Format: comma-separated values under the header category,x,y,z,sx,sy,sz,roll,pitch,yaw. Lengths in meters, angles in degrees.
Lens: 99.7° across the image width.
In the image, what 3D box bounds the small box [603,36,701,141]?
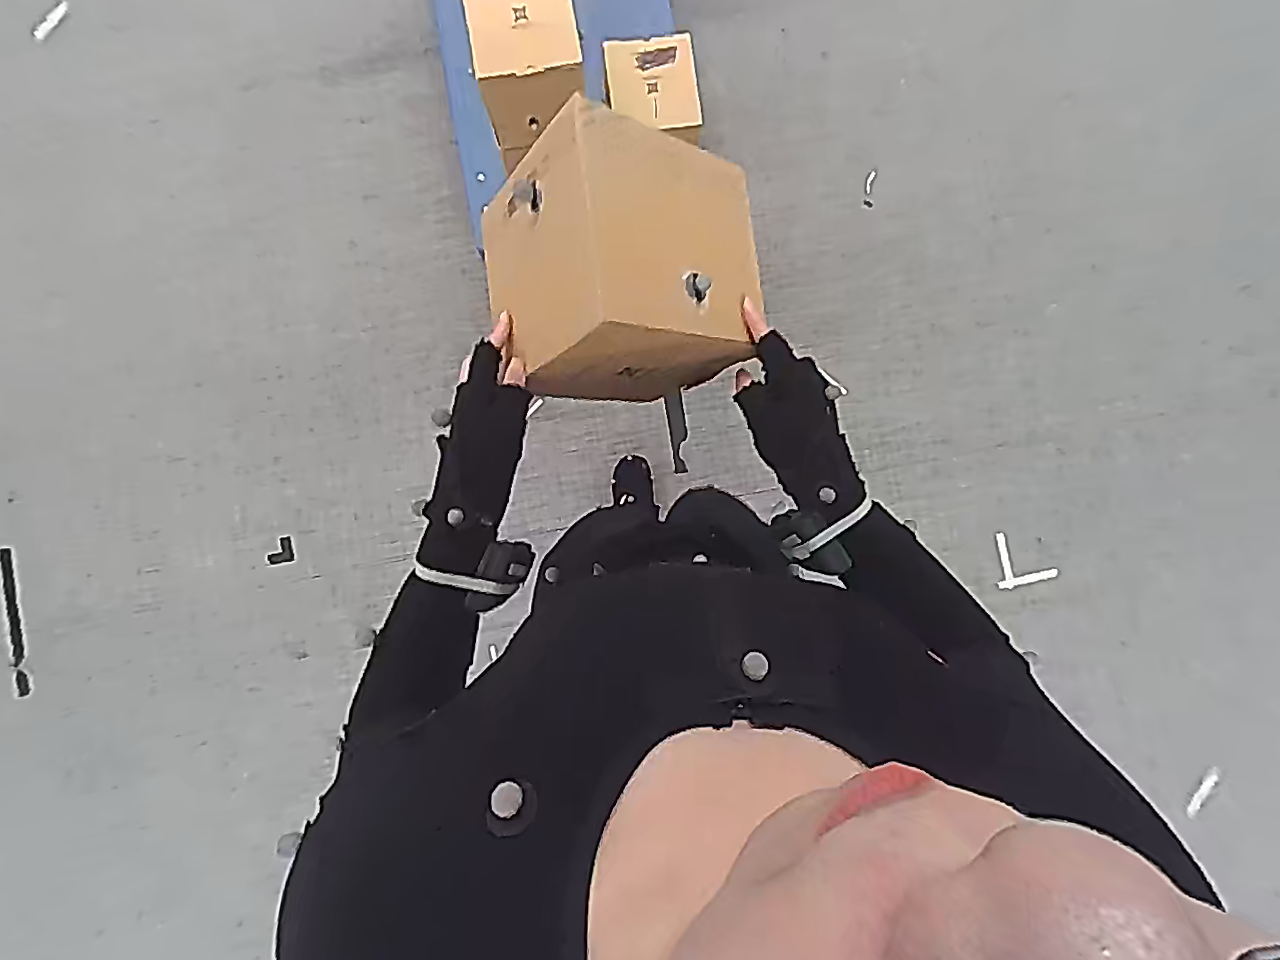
category,x,y,z,sx,sy,sz,roll,pitch,yaw
small box,0.018,-0.727,1.077,0.168,0.176,0.179,-8,90,-2

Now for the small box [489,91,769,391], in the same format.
category,x,y,z,sx,sy,sz,roll,pitch,yaw
small box,-0.014,-0.184,0.469,0.179,0.168,0.176,-2,83,-39

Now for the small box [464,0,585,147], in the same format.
category,x,y,z,sx,sy,sz,roll,pitch,yaw
small box,-0.186,-0.702,0.906,0.168,0.176,0.179,-11,90,-2
